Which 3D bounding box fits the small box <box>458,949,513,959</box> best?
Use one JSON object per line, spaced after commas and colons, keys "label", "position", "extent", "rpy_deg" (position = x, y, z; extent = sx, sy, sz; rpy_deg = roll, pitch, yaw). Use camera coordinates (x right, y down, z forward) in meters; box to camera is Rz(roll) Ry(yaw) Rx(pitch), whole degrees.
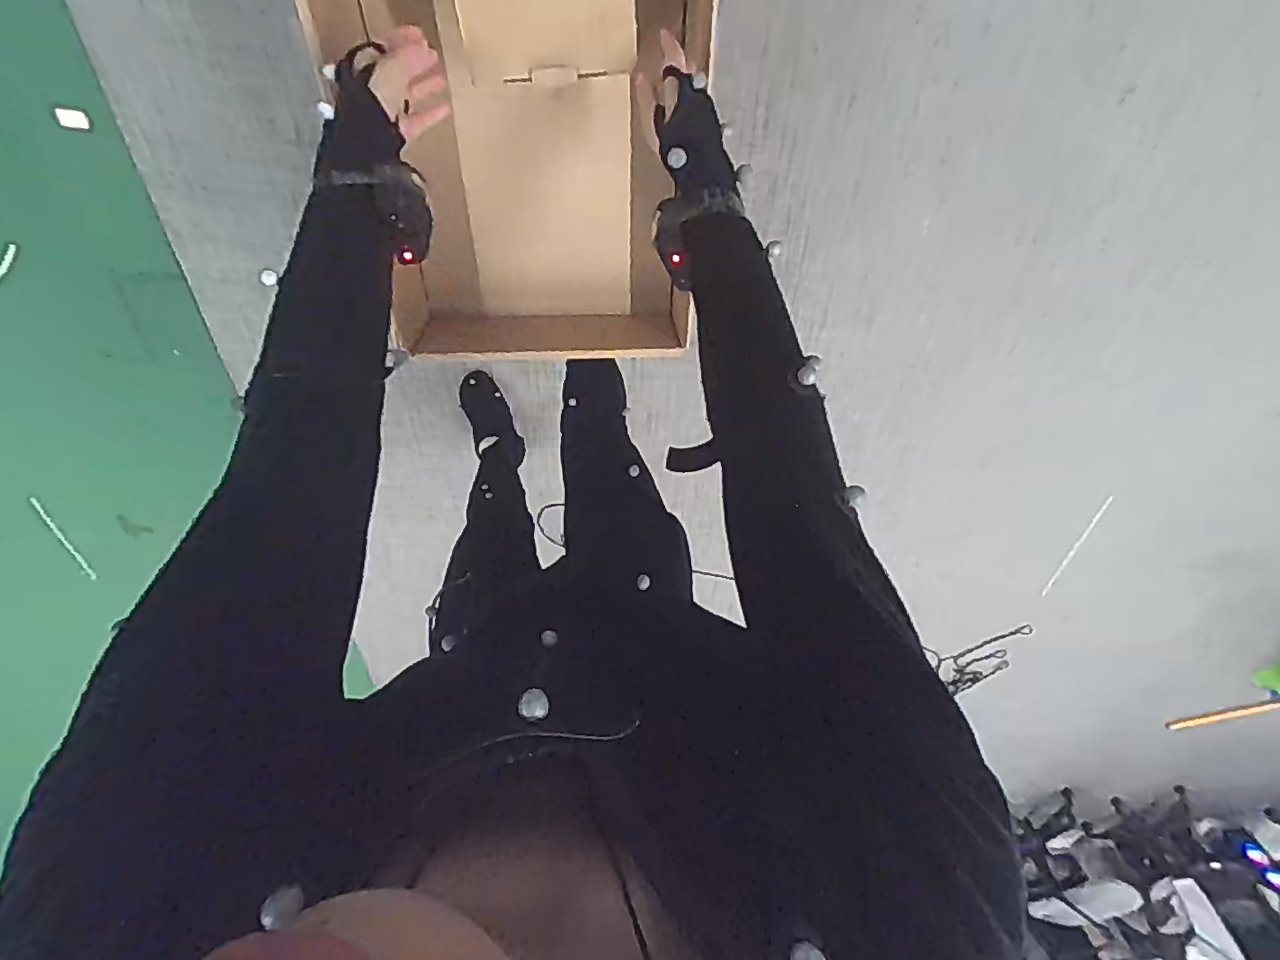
{"label": "small box", "position": [-0.508, 1.645, 1.751], "extent": [0.168, 0.176, 0.179], "rpy_deg": [1, 129, -6]}

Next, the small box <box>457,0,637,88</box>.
{"label": "small box", "position": [-0.091, -0.509, 0.536], "extent": [0.168, 0.176, 0.179], "rpy_deg": [-6, 130, -2]}
